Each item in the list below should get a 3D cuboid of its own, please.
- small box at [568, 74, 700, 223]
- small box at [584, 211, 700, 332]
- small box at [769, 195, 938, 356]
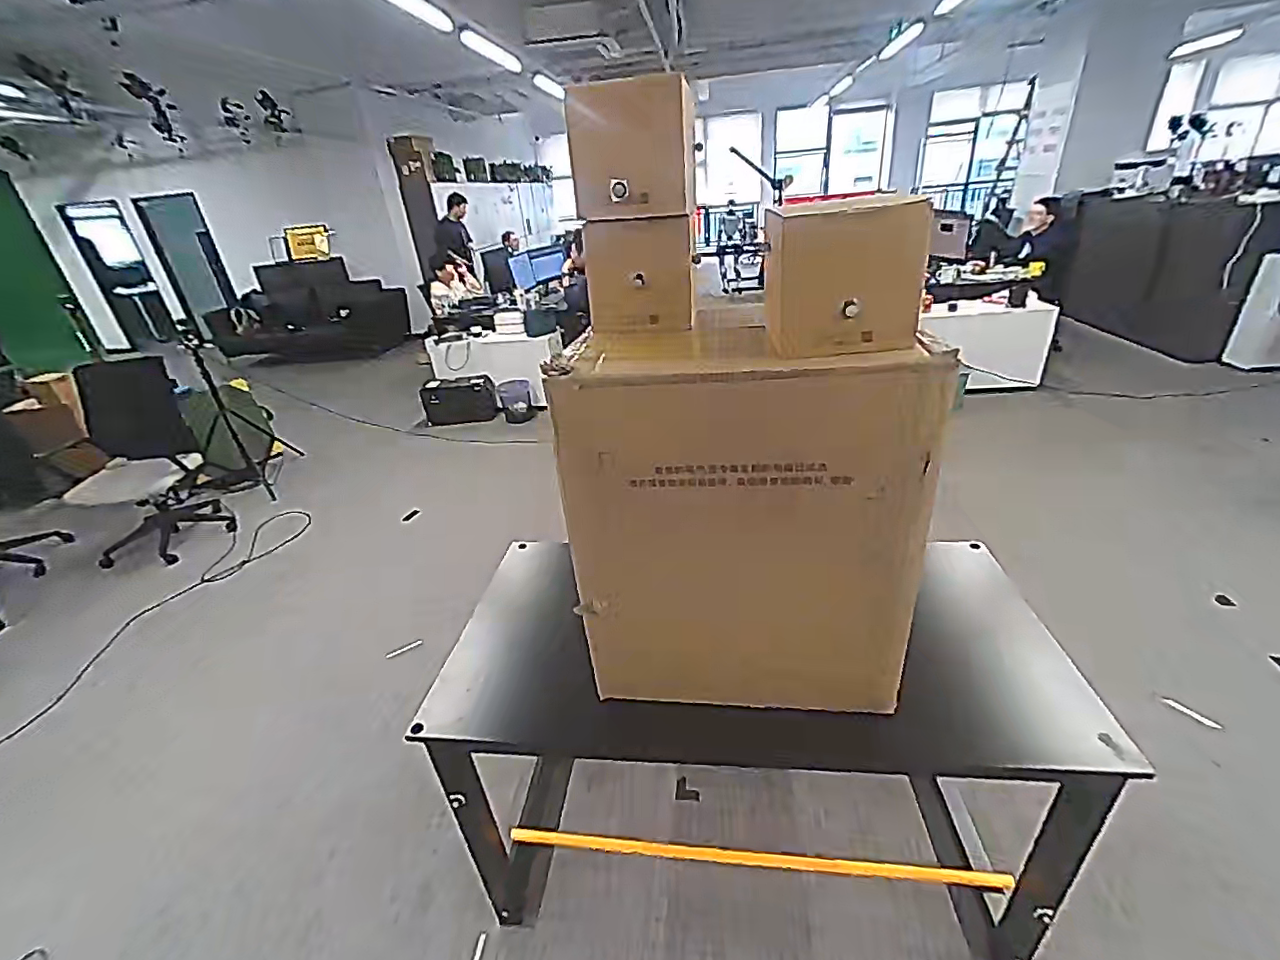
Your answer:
[{"bbox_3d":[0.003,-0.485,0.814,0.168,0.176,0.179,0,29,11],"label":"small box"},{"bbox_3d":[0.014,-0.348,0.904,0.168,0.176,0.179,0,29,8],"label":"small box"},{"bbox_3d":[0.263,-0.271,0.713,0.168,0.176,0.179,-4,29,7],"label":"small box"}]
